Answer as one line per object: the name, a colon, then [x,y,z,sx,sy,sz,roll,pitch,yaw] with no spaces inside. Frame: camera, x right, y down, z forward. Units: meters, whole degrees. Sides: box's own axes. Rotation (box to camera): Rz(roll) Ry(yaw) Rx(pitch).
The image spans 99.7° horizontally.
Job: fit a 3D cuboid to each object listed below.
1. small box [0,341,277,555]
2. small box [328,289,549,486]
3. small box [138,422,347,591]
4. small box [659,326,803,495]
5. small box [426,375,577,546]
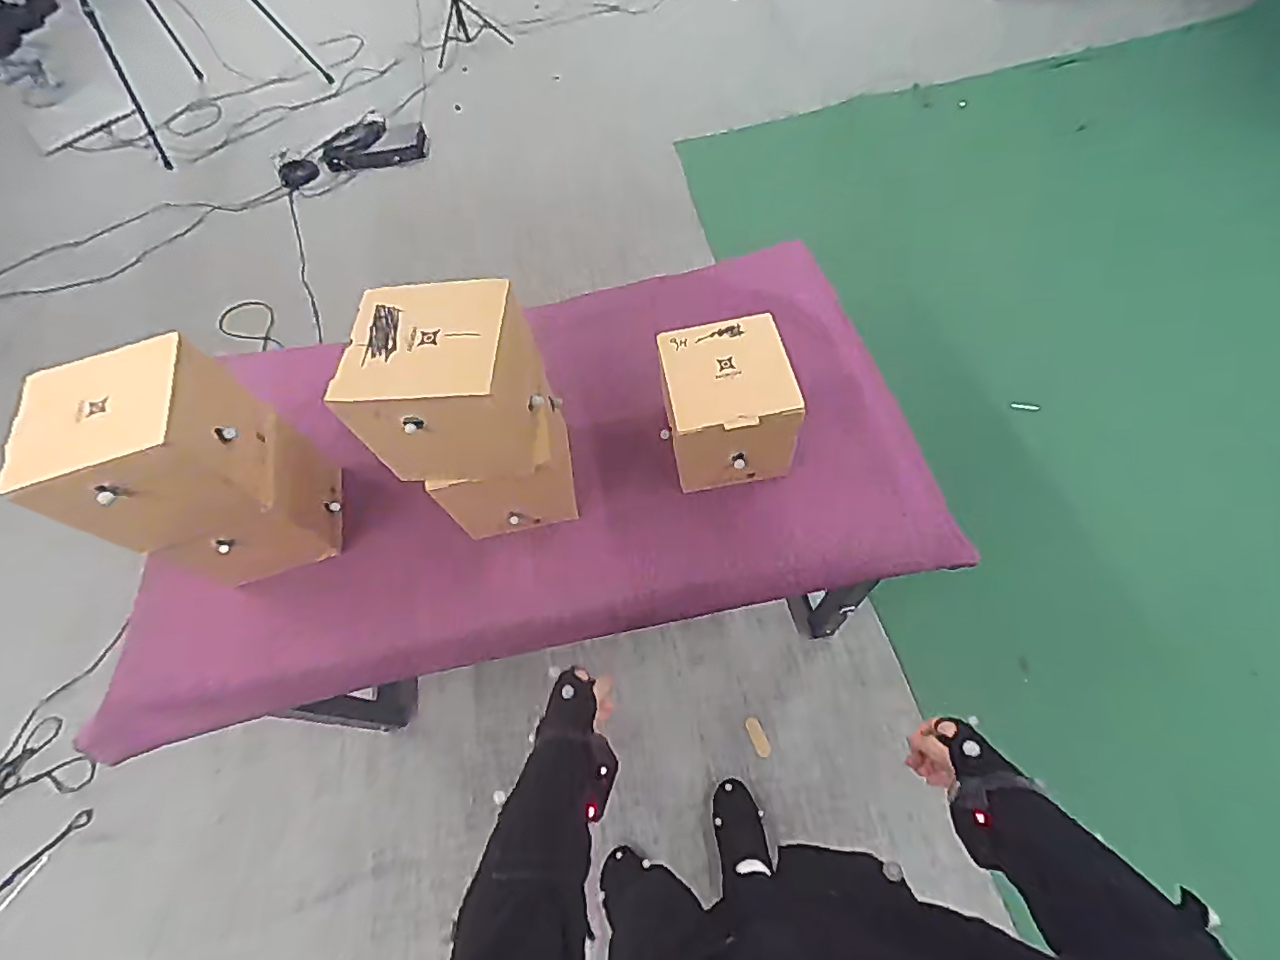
small box: [-0.576,-0.031,0.654,0.179,0.176,0.168,-18,61,-3]
small box: [-0.222,-0.102,0.647,0.179,0.176,0.168,-2,60,6]
small box: [-0.565,0.046,0.796,0.179,0.176,0.168,-16,61,-3]
small box: [0.126,-0.091,0.788,0.168,0.176,0.179,-10,60,2]
small box: [-0.194,-0.026,0.791,0.168,0.176,0.179,-11,60,1]
